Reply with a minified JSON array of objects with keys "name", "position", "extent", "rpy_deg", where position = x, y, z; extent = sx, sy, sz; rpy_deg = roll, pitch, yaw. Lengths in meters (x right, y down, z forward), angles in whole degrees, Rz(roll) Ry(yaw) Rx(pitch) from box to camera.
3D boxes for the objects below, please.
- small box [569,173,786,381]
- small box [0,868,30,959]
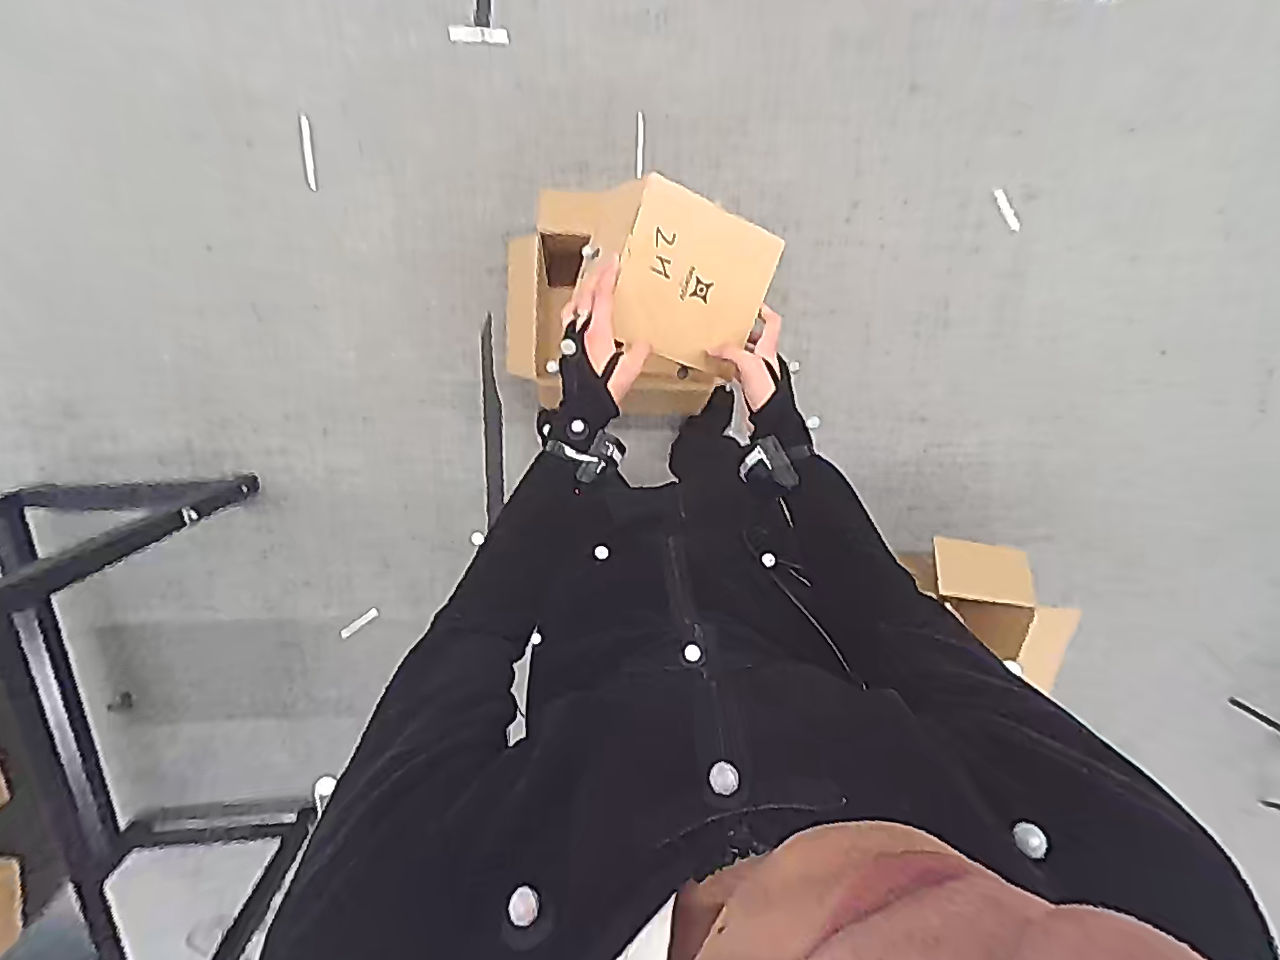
[{"name":"small box","position":[0.033,-0.235,0.644],"extent":[0.179,0.176,0.168],"rpy_deg":[14,105,-24]},{"name":"small box","position":[-1.121,0.731,0.842],"extent":[0.168,0.176,0.179],"rpy_deg":[13,104,-7]}]
